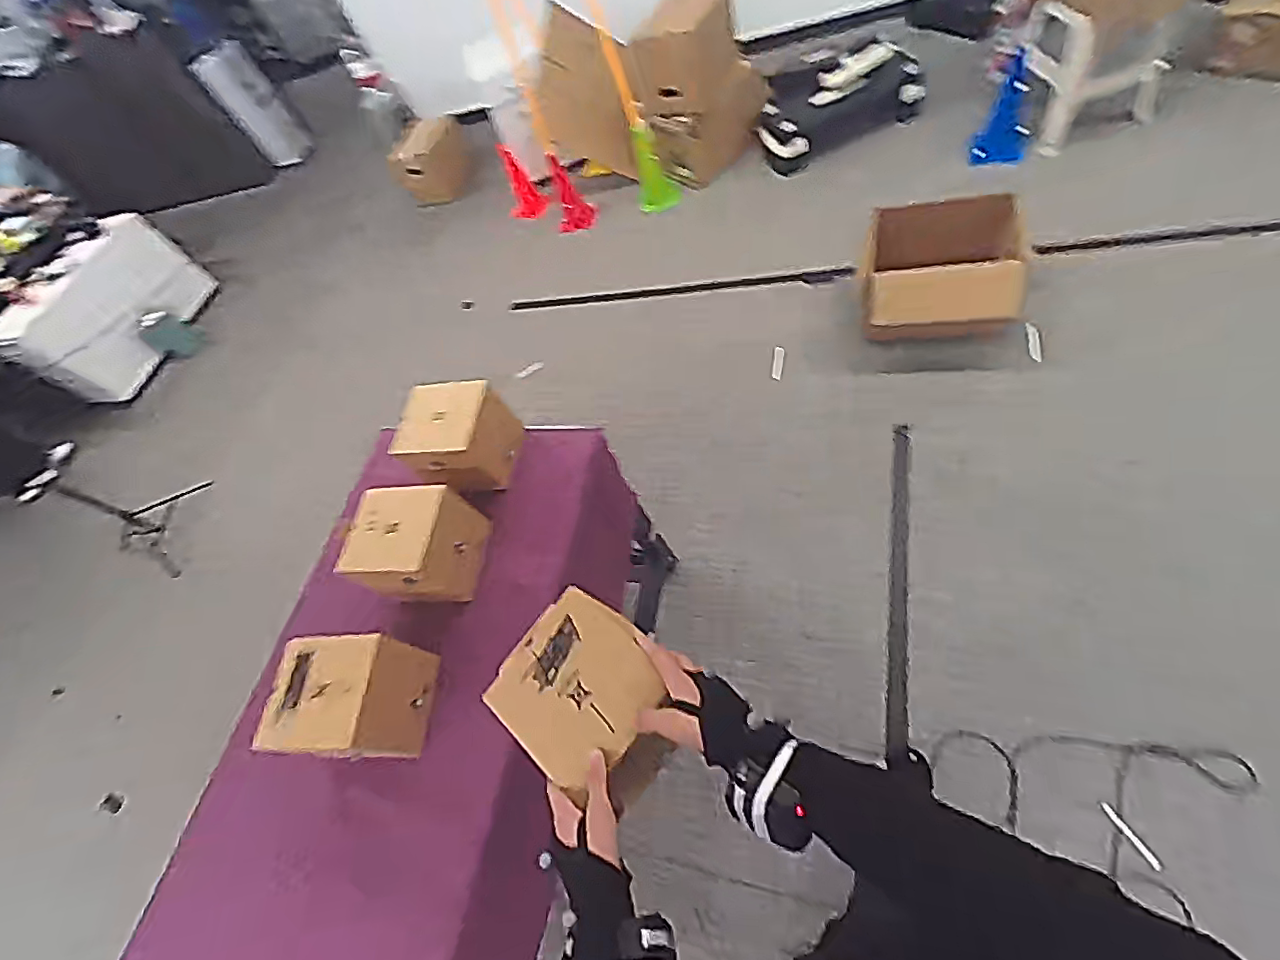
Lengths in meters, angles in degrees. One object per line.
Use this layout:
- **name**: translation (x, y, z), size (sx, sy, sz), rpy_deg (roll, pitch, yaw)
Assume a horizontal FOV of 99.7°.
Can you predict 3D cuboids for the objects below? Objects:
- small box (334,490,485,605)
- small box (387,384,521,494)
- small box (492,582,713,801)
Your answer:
- **small box**: translation (-0.420, 0.132, 1.019), size (0.179, 0.176, 0.168), rpy_deg (-4, 60, 18)
- **small box**: translation (-0.378, -0.078, 1.126), size (0.179, 0.176, 0.168), rpy_deg (-3, 62, 19)
- **small box**: translation (-0.038, 0.259, 0.664), size (0.179, 0.176, 0.168), rpy_deg (34, 81, 32)
